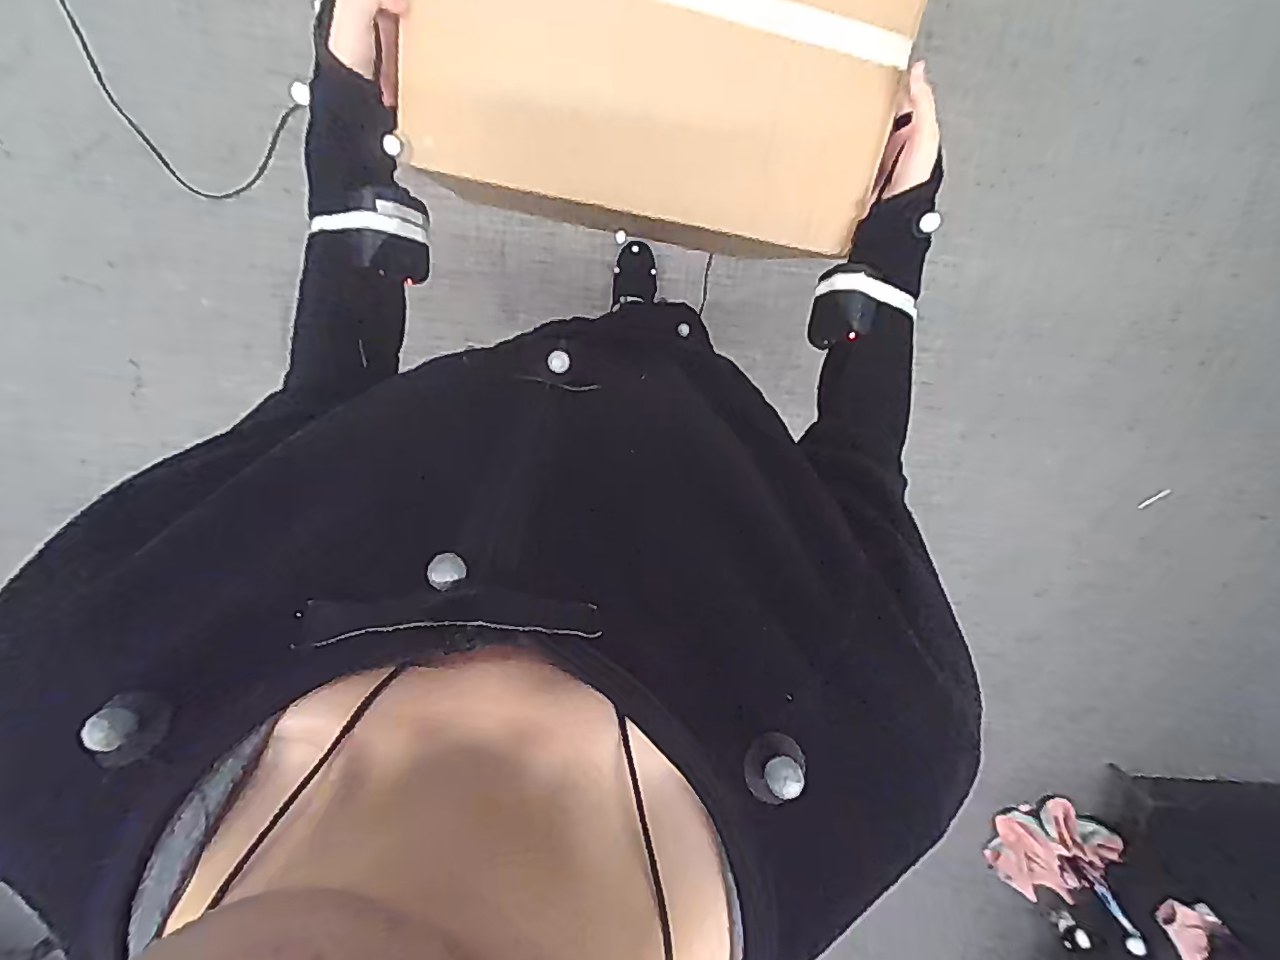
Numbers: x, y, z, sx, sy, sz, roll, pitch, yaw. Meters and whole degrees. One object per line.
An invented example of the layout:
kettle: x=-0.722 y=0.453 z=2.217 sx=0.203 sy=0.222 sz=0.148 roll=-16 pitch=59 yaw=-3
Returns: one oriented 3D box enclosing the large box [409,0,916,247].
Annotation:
large box: x=0.011 y=-0.438 z=0.563 sx=0.408 sy=0.320 sz=0.320 roll=6 pitch=110 yaw=-10
